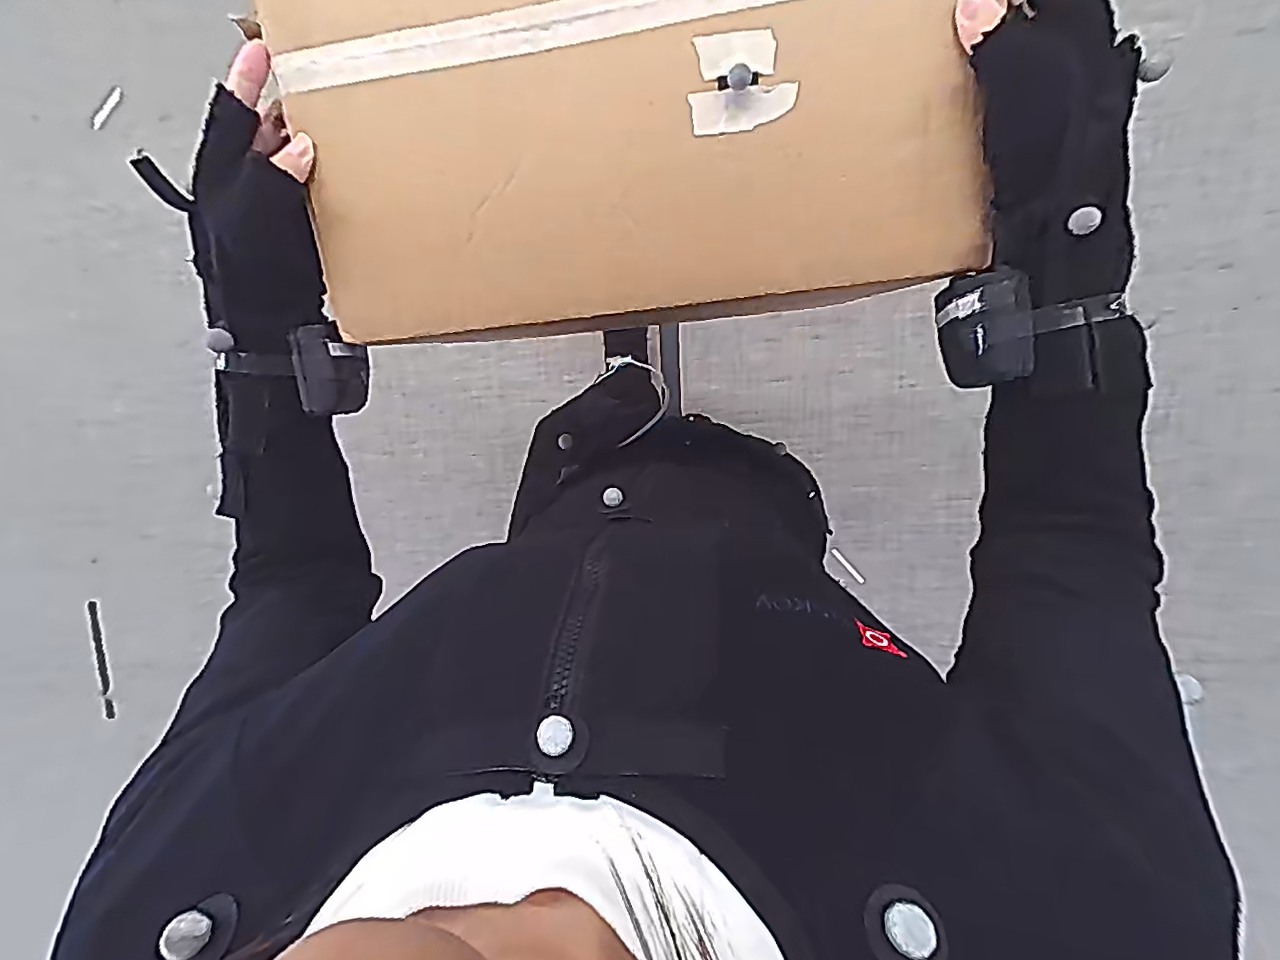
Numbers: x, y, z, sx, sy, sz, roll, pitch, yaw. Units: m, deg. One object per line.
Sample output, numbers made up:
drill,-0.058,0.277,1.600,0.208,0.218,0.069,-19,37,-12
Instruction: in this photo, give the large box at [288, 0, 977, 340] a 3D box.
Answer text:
large box,-0.001,-0.301,0.459,0.408,0.320,0.320,-5,105,6
